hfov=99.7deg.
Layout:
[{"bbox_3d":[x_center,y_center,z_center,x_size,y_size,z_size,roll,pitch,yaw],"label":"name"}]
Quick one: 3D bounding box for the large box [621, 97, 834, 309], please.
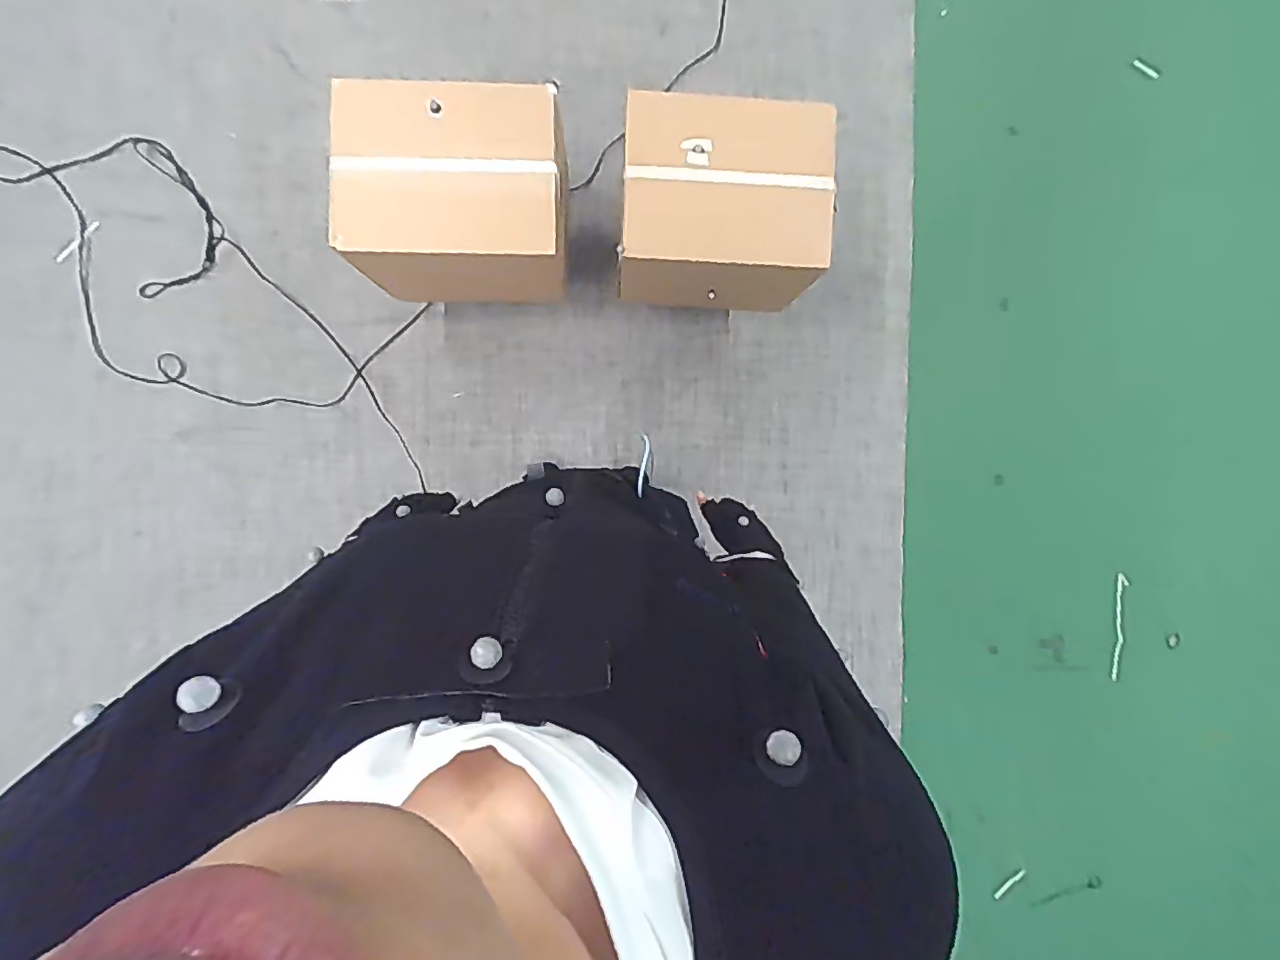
[{"bbox_3d":[0.168,-0.575,1.188,0.408,0.320,0.320,2,91,-3],"label":"large box"}]
